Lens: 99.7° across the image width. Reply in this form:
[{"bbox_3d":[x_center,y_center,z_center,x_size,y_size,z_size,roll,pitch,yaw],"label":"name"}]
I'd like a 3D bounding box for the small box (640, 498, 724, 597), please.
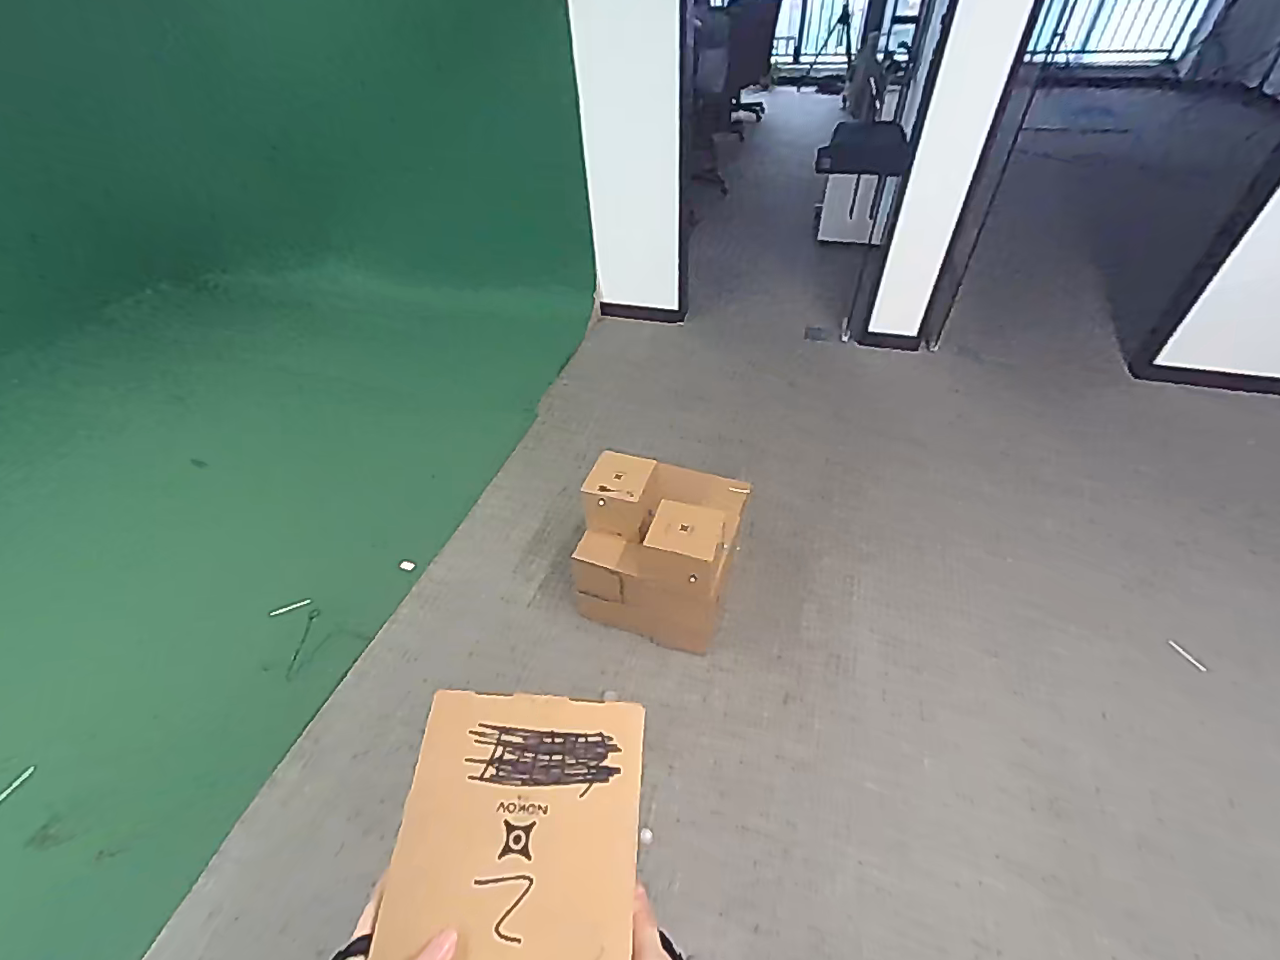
[{"bbox_3d":[0.108,0.176,1.389,0.179,0.176,0.168,12,45,15],"label":"small box"}]

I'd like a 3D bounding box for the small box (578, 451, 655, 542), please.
[{"bbox_3d":[-0.061,0.046,1.534,0.168,0.176,0.179,12,45,16],"label":"small box"}]
